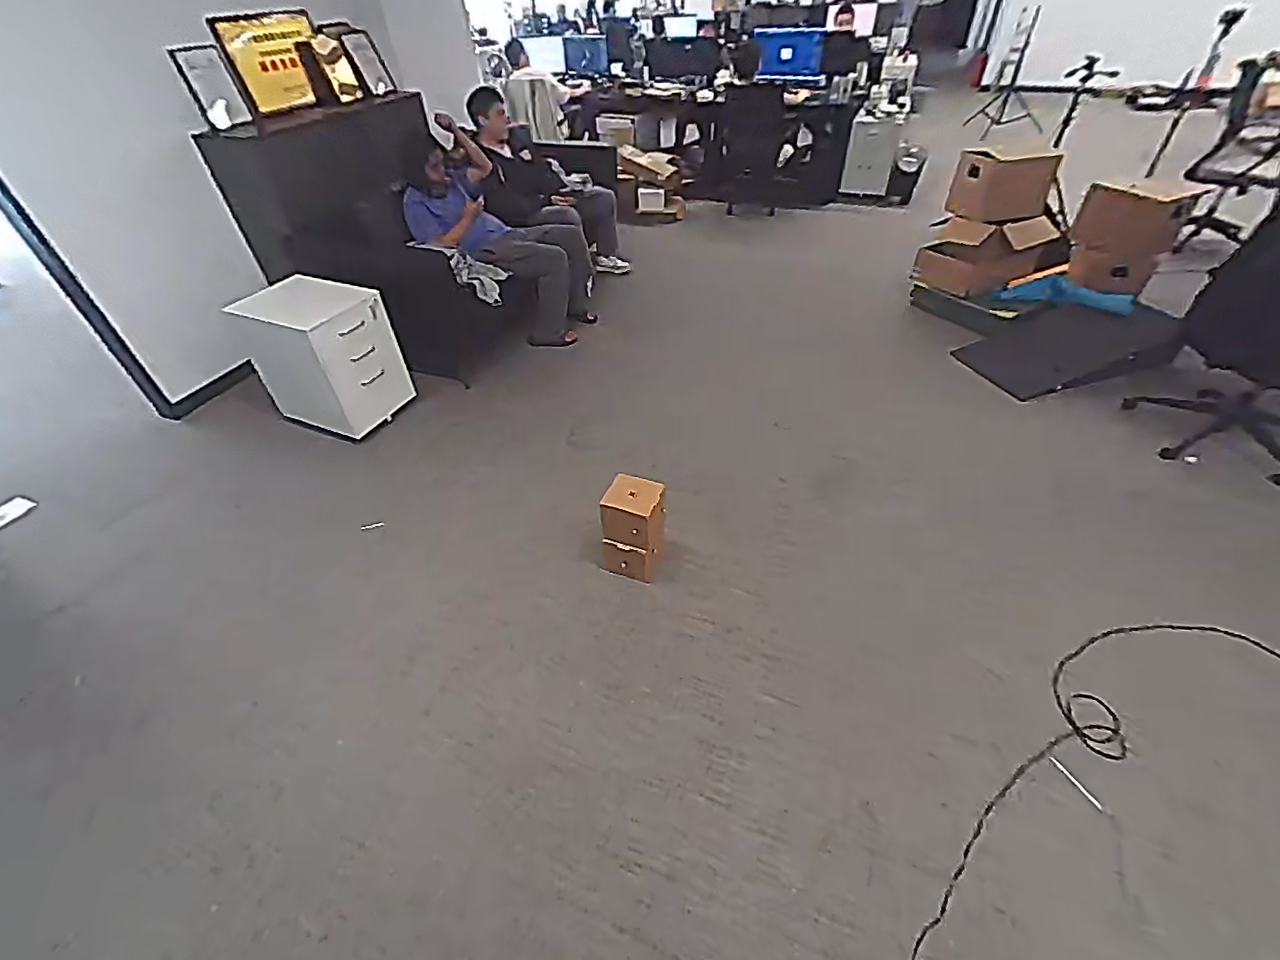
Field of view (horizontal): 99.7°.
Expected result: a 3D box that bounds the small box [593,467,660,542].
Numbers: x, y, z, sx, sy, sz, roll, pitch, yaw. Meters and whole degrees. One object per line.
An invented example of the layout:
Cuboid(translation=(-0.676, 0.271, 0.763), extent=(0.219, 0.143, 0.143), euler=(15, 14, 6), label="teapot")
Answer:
Cuboid(translation=(-0.042, 0.086, 1.835), extent=(0.179, 0.176, 0.168), euler=(14, 44, 17), label="small box")

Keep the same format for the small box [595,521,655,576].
Cuboid(translation=(-0.046, 0.221, 1.957), extent=(0.168, 0.176, 0.179), euler=(13, 45, 16), label="small box")
